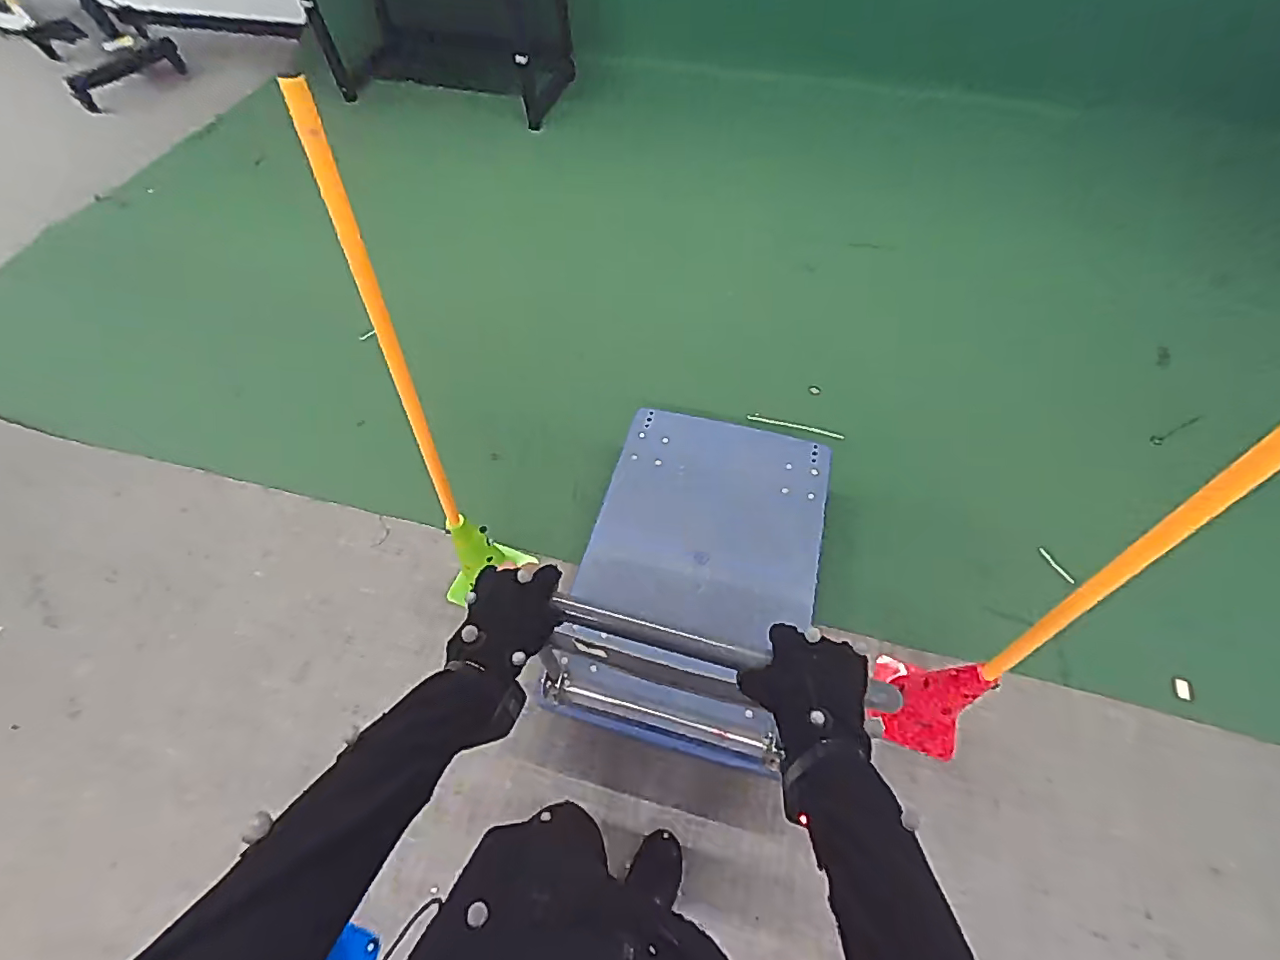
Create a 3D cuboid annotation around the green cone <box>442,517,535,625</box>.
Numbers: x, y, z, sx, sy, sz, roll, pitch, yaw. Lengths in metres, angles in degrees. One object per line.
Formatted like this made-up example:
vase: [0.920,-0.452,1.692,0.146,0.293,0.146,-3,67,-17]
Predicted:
green cone: [-0.424,0.197,1.383,0.202,0.368,0.200,17,59,12]
